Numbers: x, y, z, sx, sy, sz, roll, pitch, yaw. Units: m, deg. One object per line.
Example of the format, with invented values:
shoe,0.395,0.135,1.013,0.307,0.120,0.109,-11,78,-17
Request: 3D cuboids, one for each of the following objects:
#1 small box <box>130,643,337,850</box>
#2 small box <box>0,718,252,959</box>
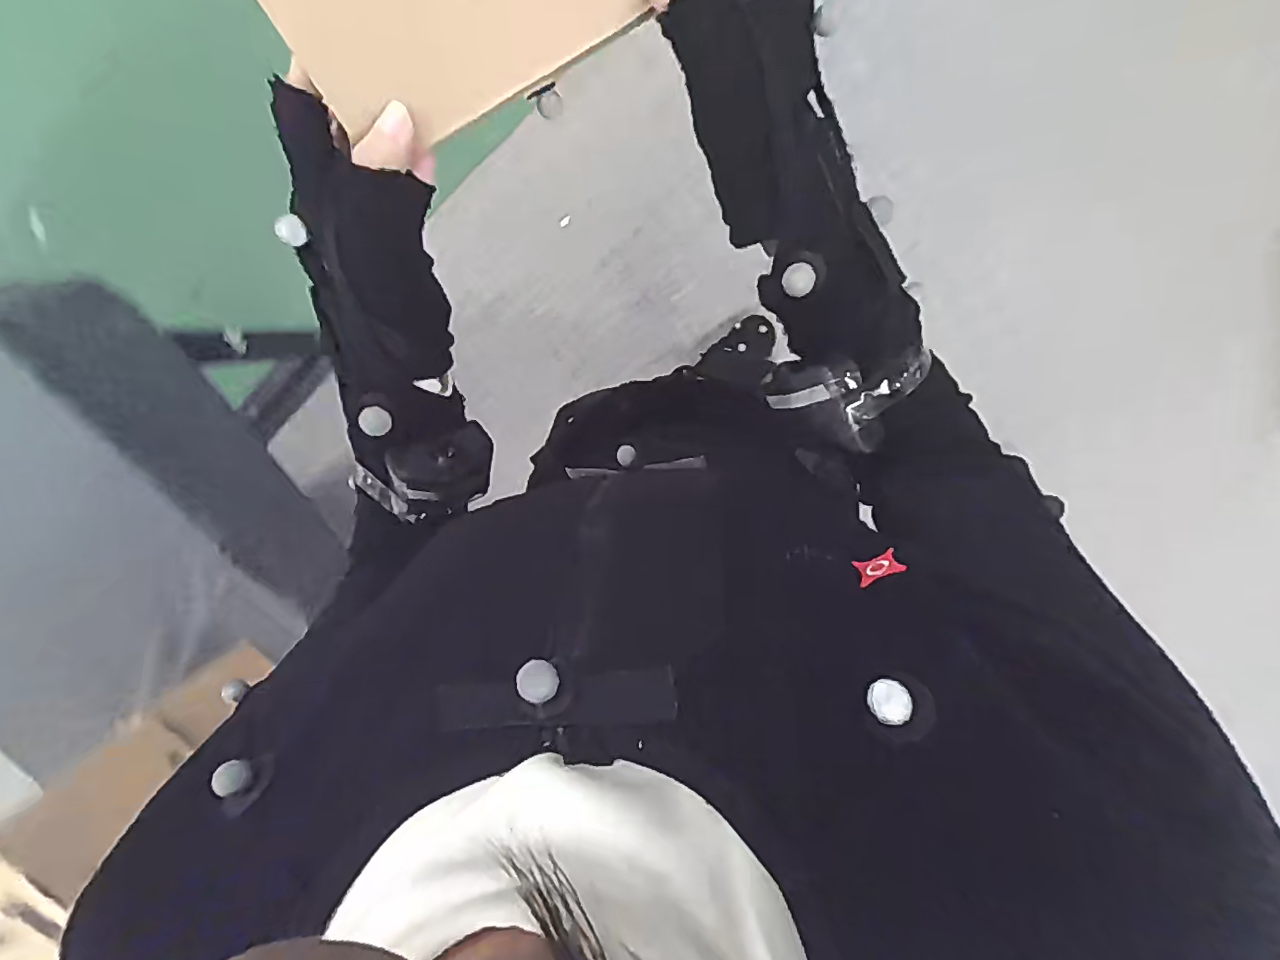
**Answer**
small box,-0.578,0.370,0.764,0.179,0.176,0.168,42,107,-5
small box,-0.586,0.408,0.601,0.179,0.176,0.168,-42,97,16
